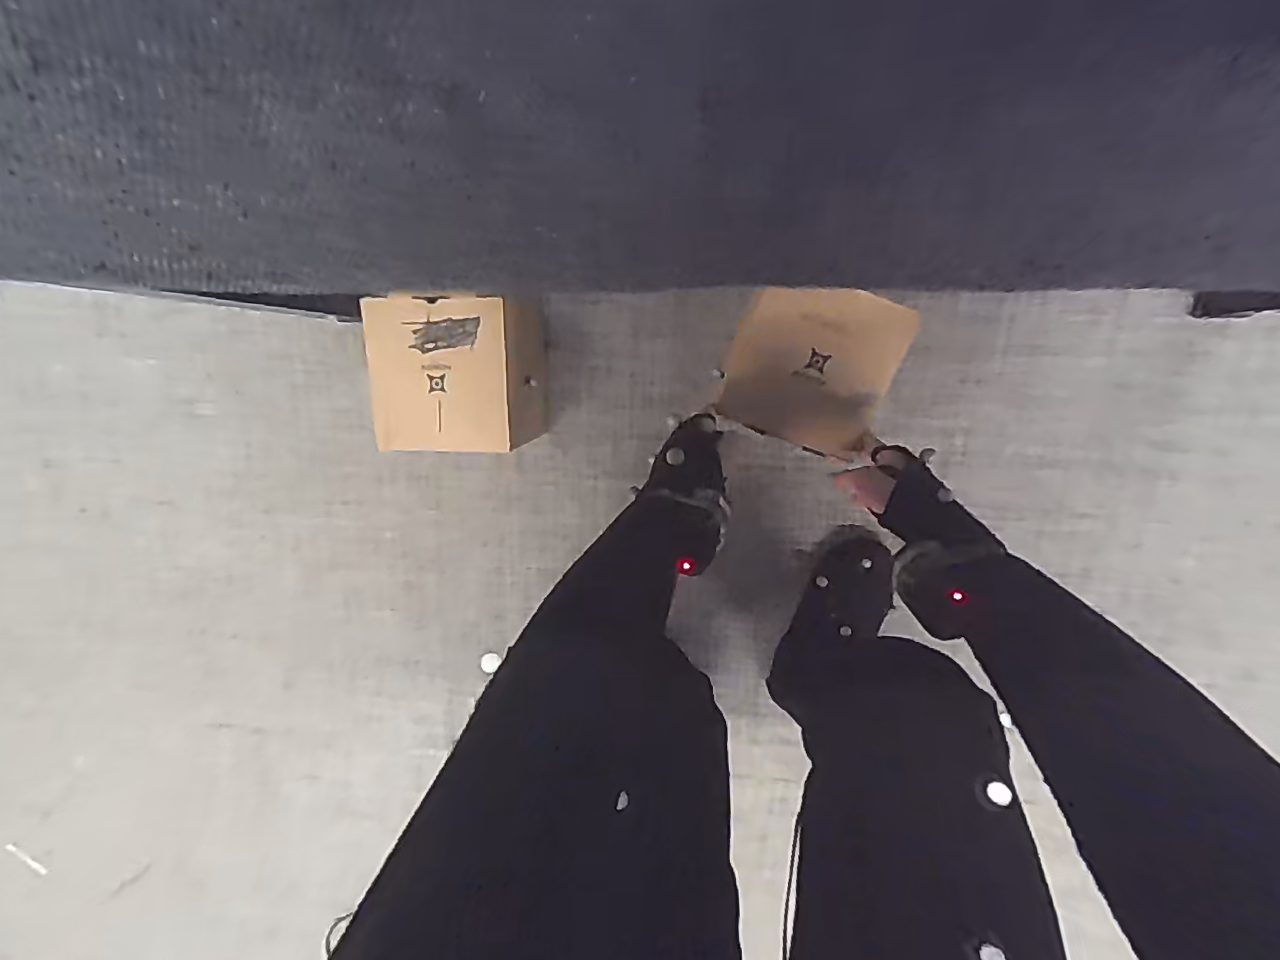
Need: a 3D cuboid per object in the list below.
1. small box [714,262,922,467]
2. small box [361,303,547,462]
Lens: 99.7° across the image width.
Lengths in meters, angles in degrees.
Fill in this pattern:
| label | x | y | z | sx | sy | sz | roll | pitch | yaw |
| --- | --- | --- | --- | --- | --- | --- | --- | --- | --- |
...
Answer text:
| label | x | y | z | sx | sy | sz | roll | pitch | yaw |
| --- | --- | --- | --- | --- | --- | --- | --- | --- | --- |
| small box | 0.192 | -0.133 | 0.648 | 0.168 | 0.176 | 0.179 | 18 | 101 | 0 |
| small box | -0.221 | -0.123 | 0.685 | 0.168 | 0.176 | 0.179 | 1 | 103 | 6 |
